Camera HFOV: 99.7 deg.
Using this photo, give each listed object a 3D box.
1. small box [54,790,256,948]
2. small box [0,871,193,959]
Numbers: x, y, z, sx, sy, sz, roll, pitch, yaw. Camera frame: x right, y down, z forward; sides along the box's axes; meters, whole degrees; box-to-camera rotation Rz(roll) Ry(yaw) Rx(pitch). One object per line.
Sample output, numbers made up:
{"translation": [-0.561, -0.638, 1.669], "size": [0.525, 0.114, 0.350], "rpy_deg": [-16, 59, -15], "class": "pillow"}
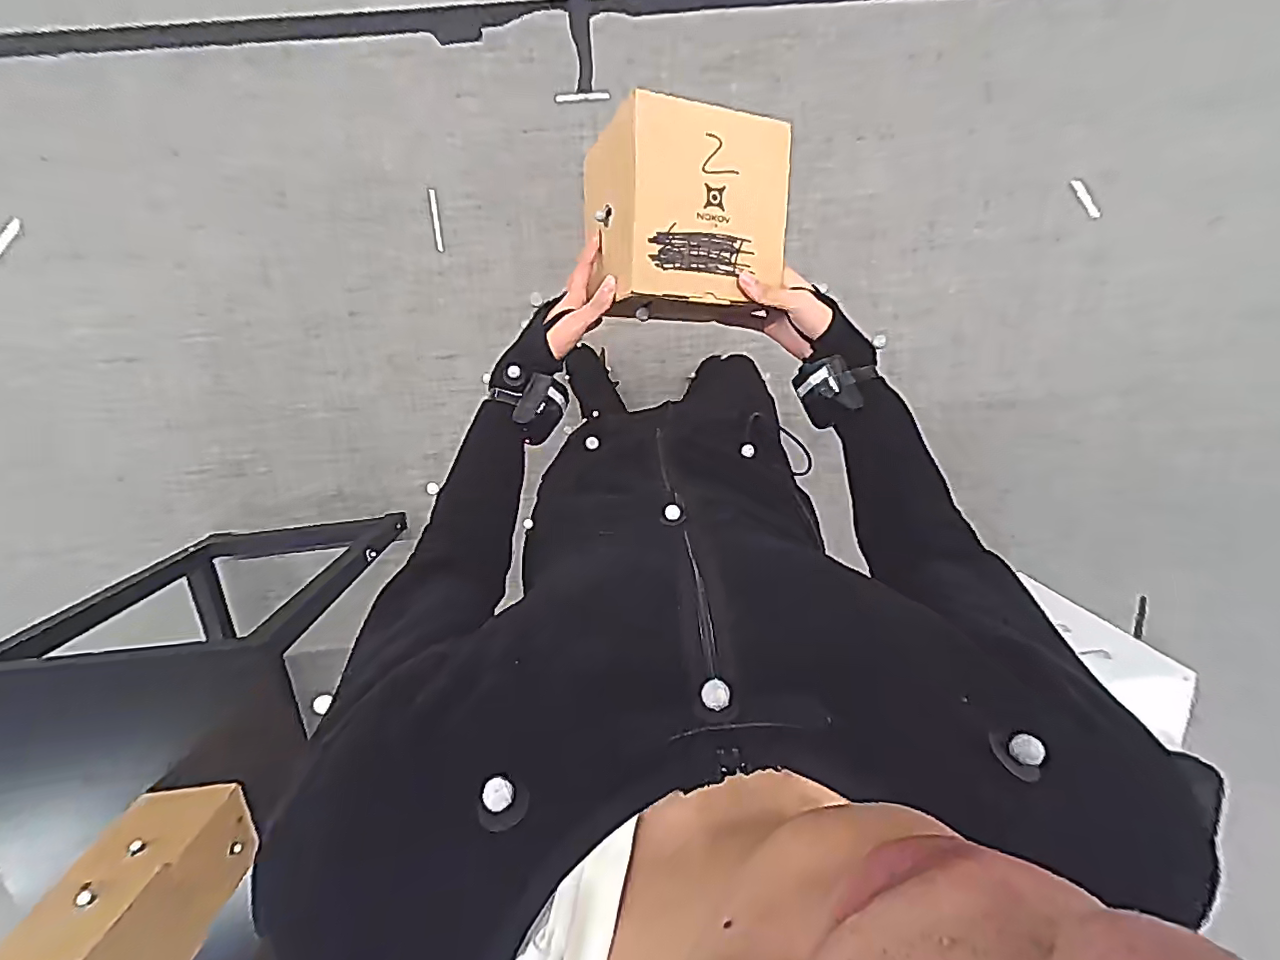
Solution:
{"translation": [-0.818, 0.671, 0.934], "size": [0.179, 0.176, 0.168], "rpy_deg": [-6, 105, -3], "class": "small box"}
{"translation": [-0.800, 0.713, 0.775], "size": [0.168, 0.176, 0.179], "rpy_deg": [-9, 105, -2], "class": "small box"}
